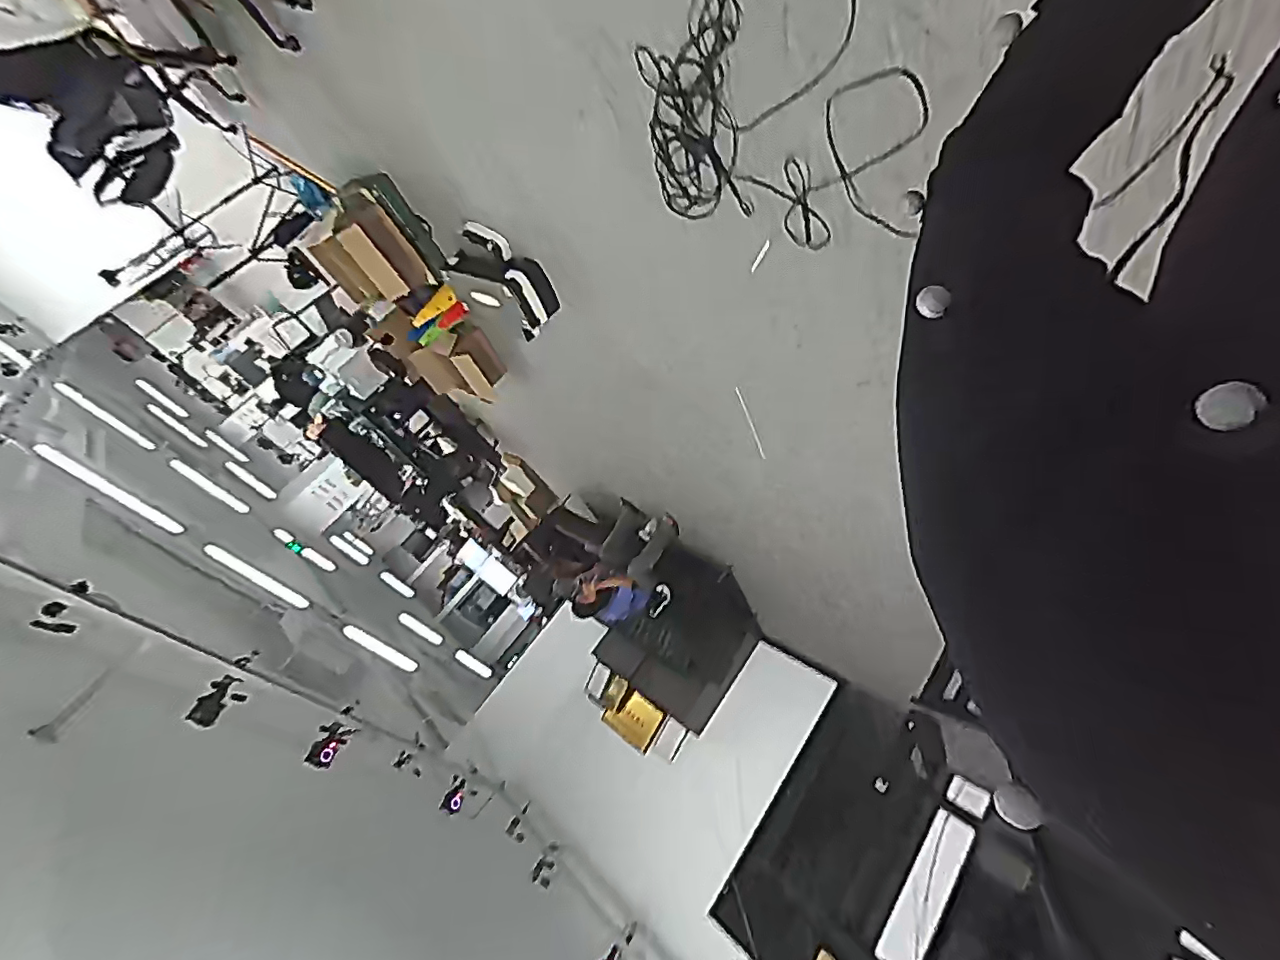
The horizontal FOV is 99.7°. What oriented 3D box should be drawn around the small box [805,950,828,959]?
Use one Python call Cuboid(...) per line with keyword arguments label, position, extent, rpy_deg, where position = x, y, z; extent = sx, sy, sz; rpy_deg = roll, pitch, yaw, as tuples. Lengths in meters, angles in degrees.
Cuboid(label="small box", position=(0.515, 1.443, 1.487), extent=(0.168, 0.176, 0.179), rpy_deg=(22, 155, 40))
